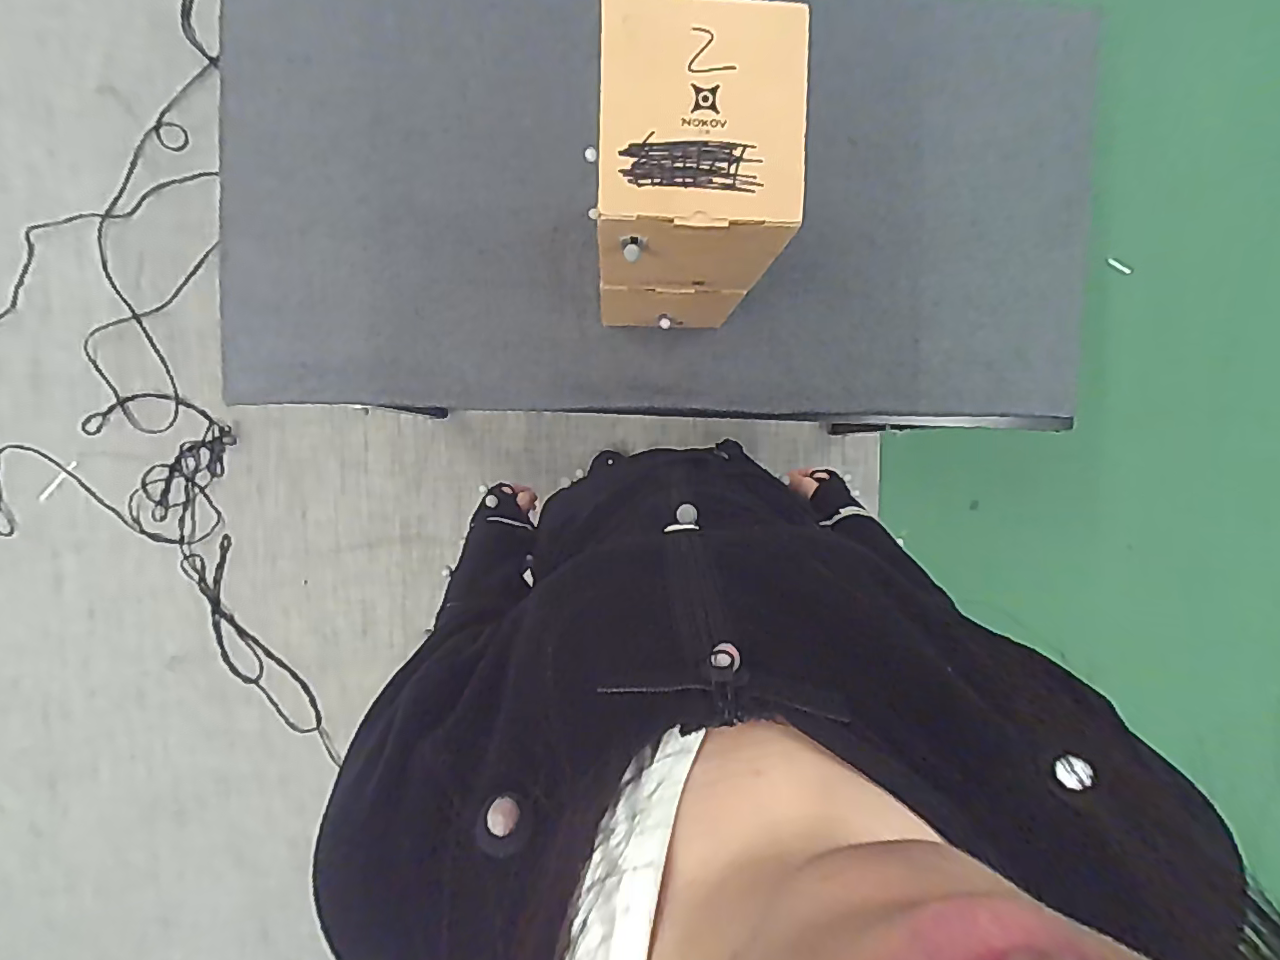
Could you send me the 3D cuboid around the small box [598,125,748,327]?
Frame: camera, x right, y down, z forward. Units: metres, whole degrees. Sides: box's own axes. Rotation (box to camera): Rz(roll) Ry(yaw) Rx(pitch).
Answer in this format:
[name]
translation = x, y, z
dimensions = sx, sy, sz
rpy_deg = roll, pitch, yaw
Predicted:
[small box]
translation = 0.032, -0.301, 0.674
dimensions = 0.168, 0.176, 0.179
rpy_deg = 0, 93, -3
